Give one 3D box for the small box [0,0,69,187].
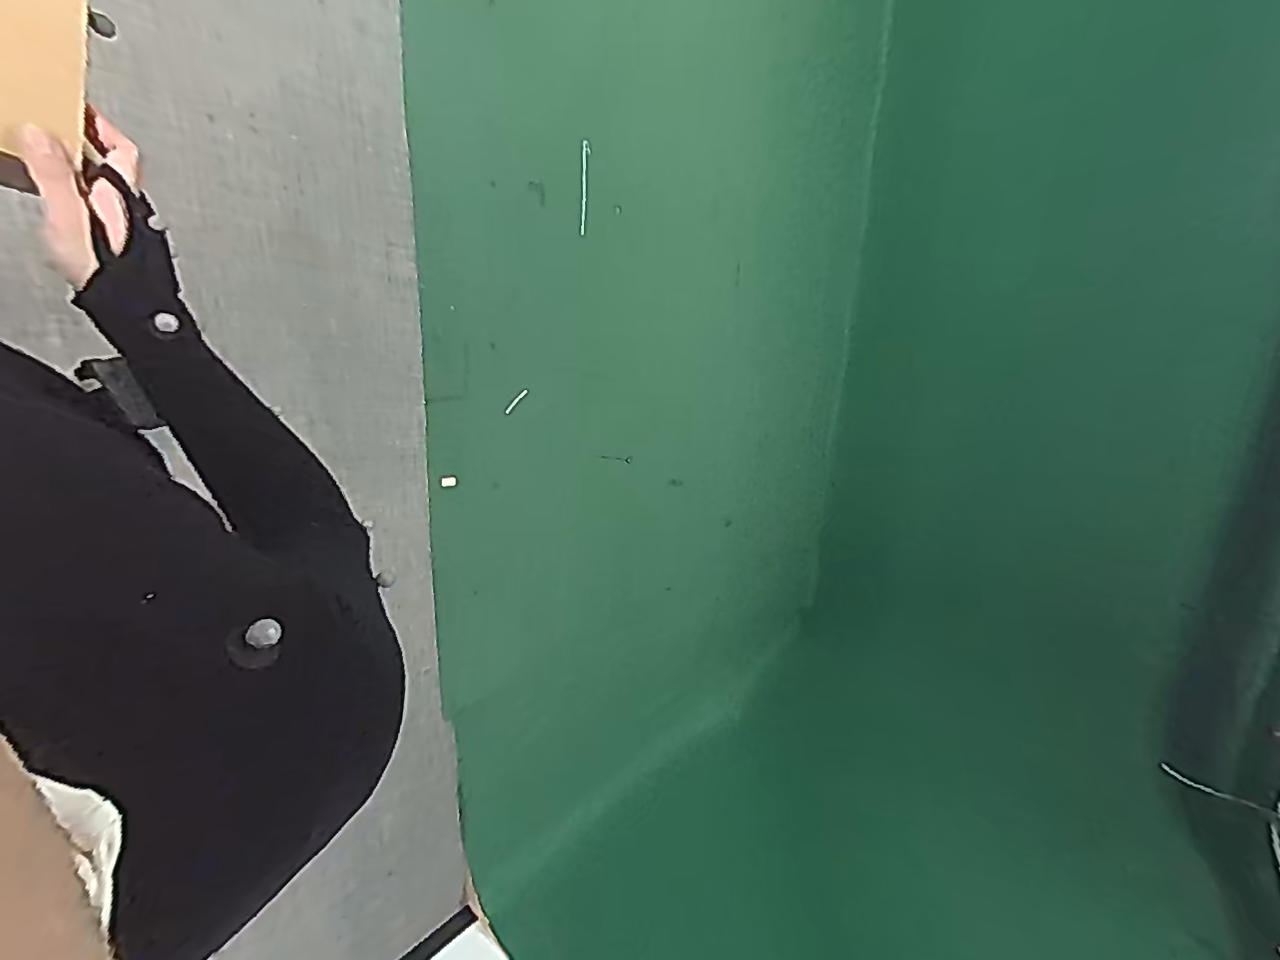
[{"bbox_3d":[-0.534,-0.339,0.385,0.168,0.176,0.179,2,101,-49],"label":"small box"}]
